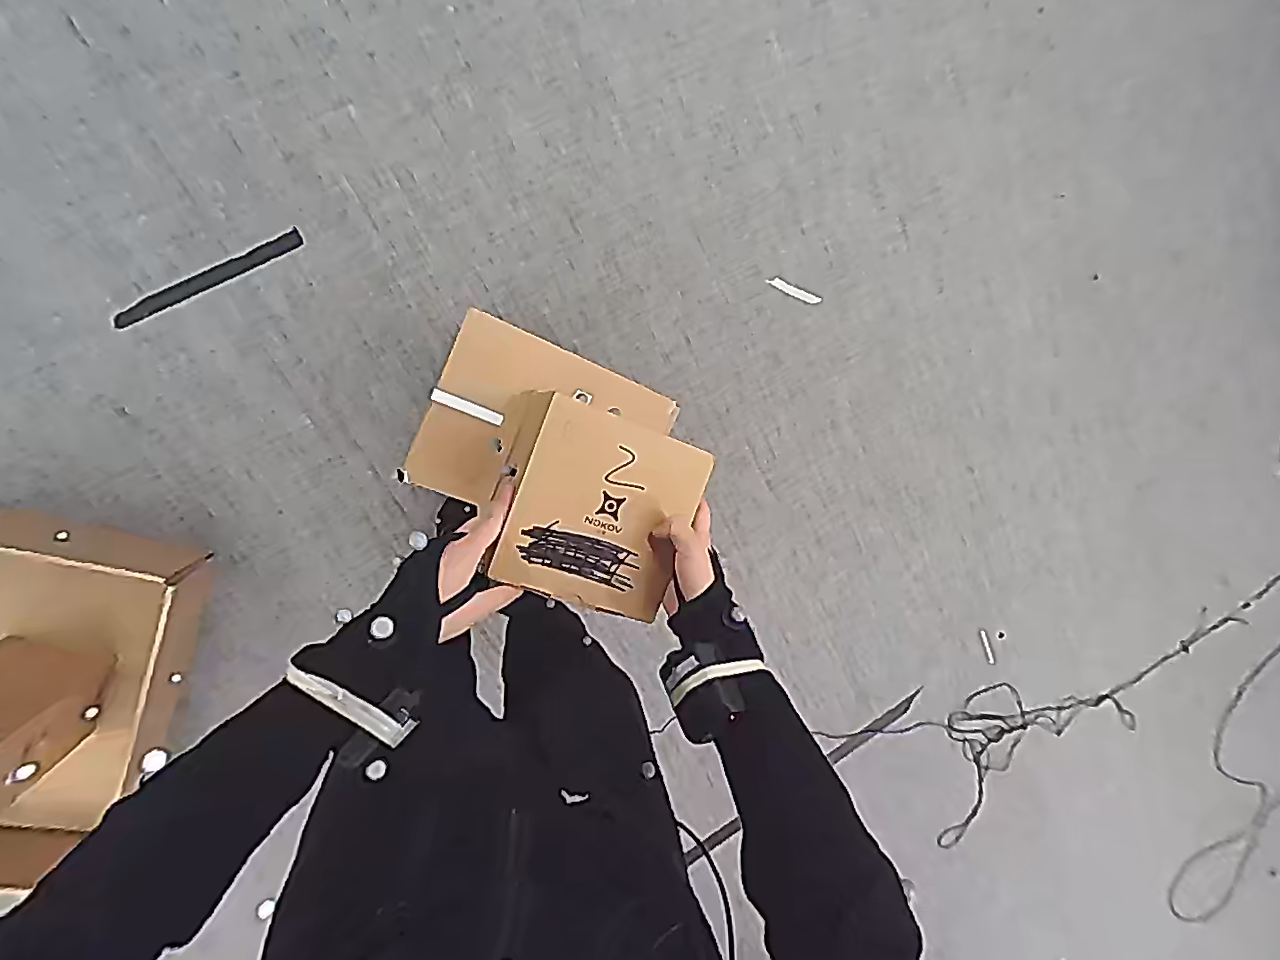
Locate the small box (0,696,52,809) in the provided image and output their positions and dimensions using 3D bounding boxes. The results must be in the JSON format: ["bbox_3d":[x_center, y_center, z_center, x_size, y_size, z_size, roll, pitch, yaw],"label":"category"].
[{"bbox_3d":[-1.045,0.428,0.791,0.179,0.176,0.168,19,95,-19],"label":"small box"}]

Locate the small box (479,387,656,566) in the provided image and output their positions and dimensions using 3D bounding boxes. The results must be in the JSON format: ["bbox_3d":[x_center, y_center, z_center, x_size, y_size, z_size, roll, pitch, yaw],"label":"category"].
[{"bbox_3d":[-0.104,-0.012,0.721,0.168,0.176,0.179,22,92,-20],"label":"small box"}]

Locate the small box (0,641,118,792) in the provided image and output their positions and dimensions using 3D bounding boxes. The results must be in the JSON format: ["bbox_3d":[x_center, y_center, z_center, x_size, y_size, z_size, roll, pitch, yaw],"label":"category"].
[{"bbox_3d":[-1.089,0.403,0.945,0.179,0.176,0.168,20,94,-19],"label":"small box"}]
